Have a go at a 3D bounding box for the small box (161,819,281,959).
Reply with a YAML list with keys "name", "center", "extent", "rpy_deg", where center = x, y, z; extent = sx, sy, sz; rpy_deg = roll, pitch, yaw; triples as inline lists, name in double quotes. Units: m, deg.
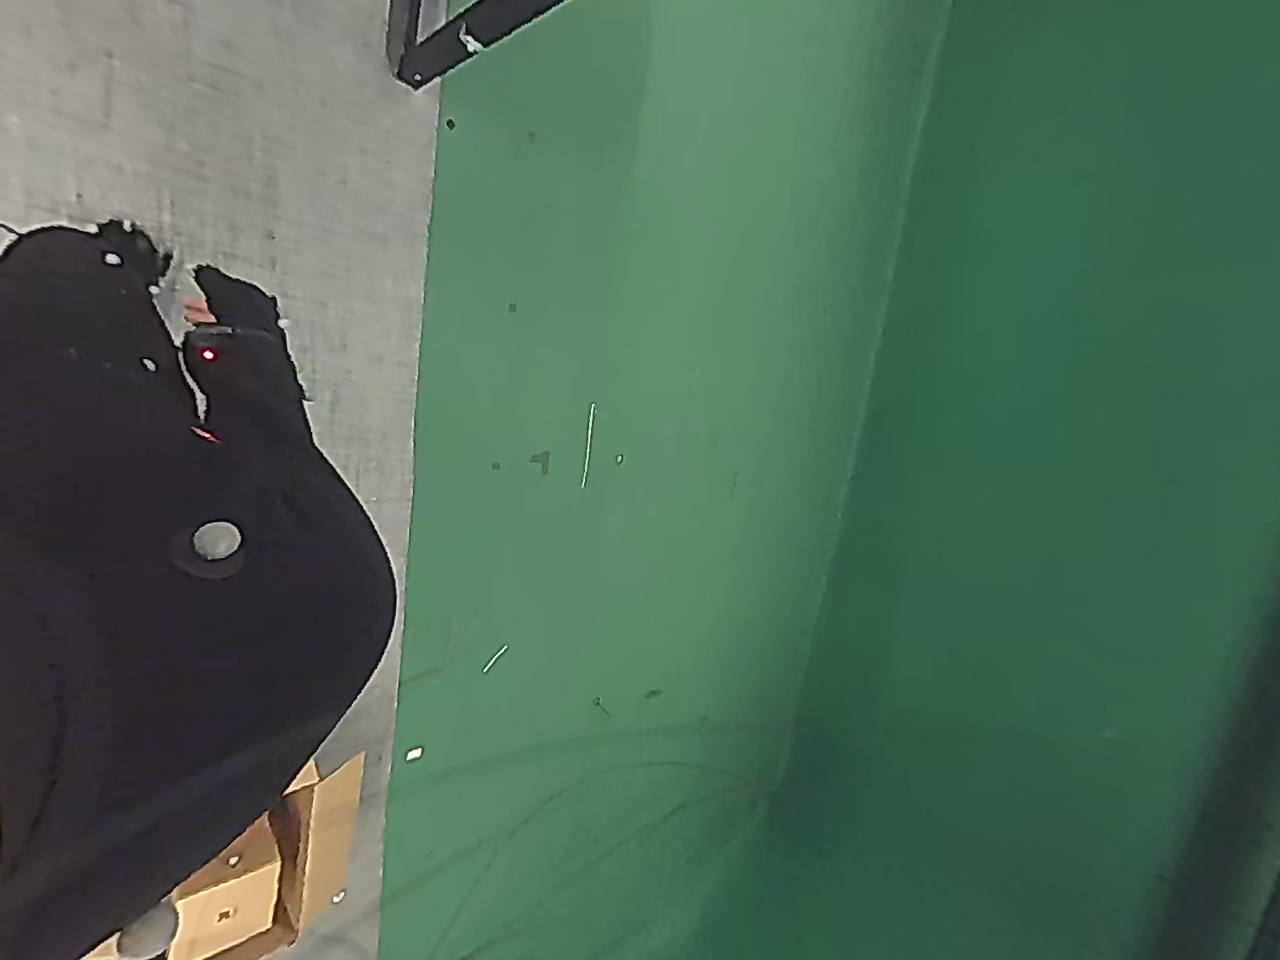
- name: "small box"
  center: [-0.896, 0.875, 1.152]
  extent: [0.179, 0.176, 0.168]
  rpy_deg: [4, 99, -47]
